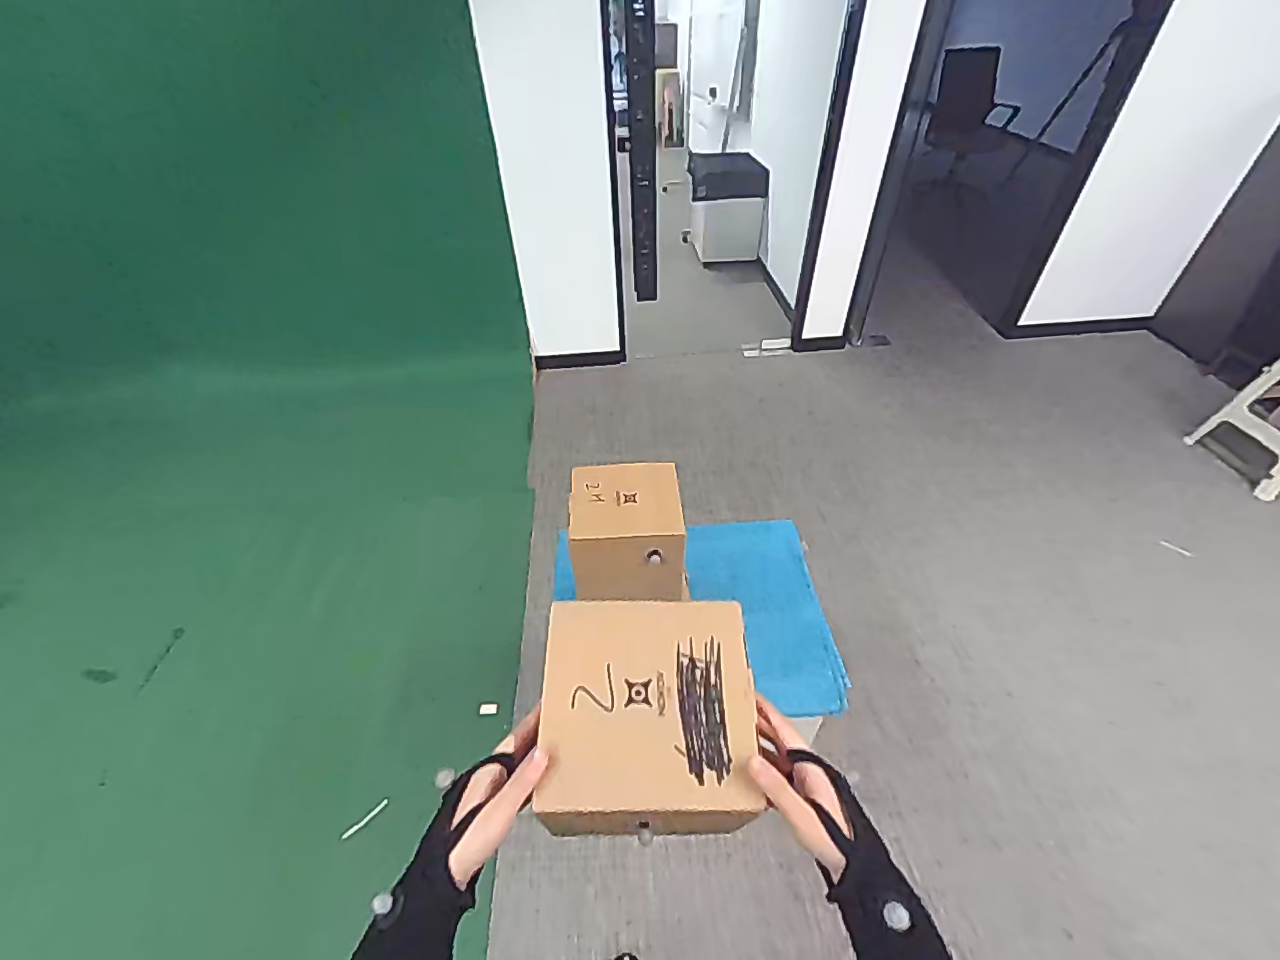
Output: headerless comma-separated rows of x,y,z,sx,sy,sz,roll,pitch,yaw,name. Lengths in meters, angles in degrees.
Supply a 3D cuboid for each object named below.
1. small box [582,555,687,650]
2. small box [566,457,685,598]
-0.011,0.199,1.005,0.179,0.176,0.168,-3,42,-1,small box
-0.024,0.079,0.892,0.179,0.176,0.168,-3,42,-1,small box
